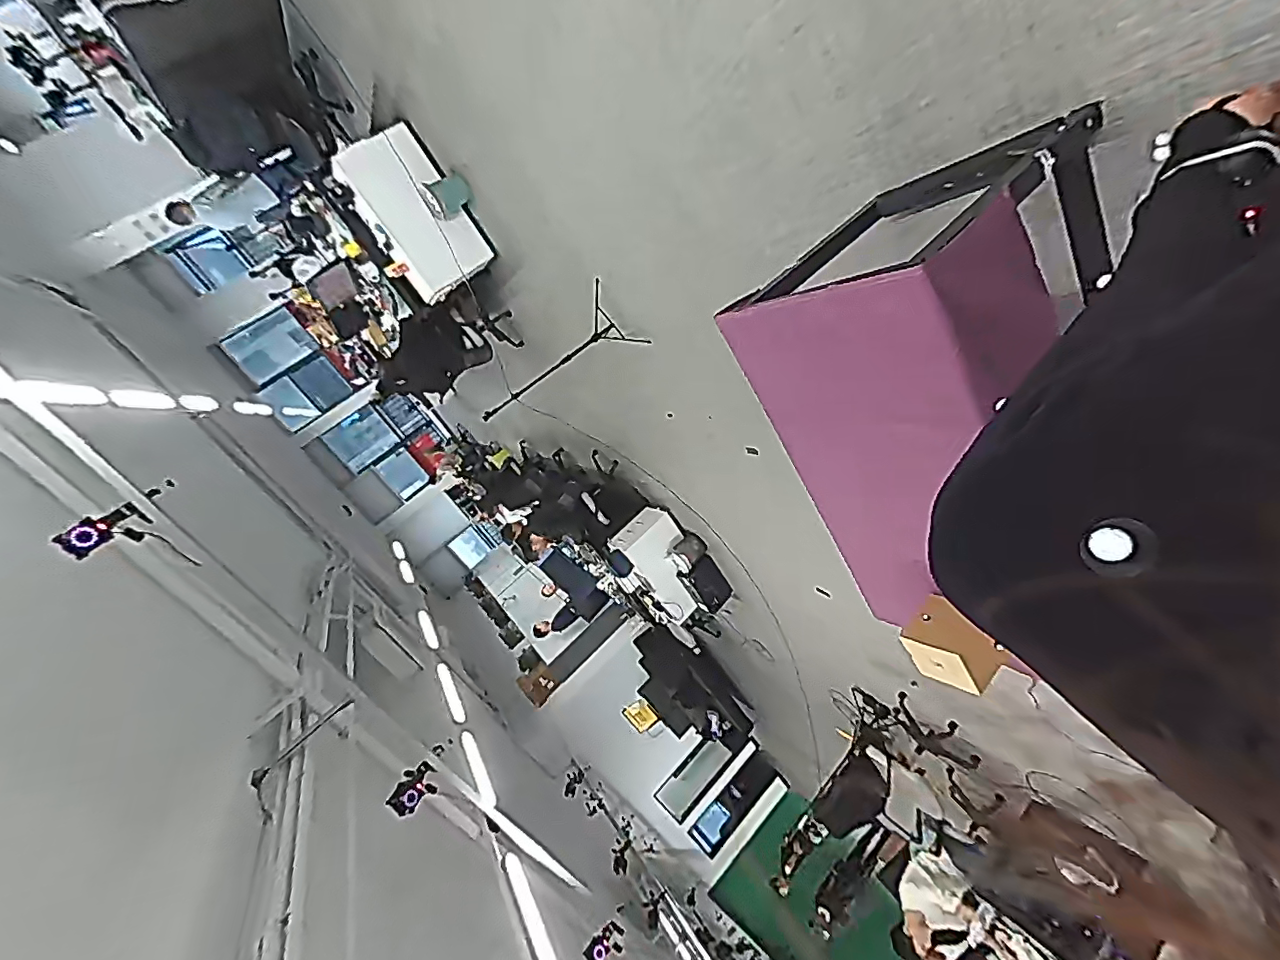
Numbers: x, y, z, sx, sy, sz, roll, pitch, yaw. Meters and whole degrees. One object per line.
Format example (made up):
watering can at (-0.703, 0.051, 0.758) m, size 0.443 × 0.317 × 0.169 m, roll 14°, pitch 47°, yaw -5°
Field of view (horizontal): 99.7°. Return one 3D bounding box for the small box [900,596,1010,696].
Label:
small box at (0.862, 0.444, 1.479) m, size 0.168 × 0.176 × 0.179 m, roll 54°, pitch 161°, yaw -19°
